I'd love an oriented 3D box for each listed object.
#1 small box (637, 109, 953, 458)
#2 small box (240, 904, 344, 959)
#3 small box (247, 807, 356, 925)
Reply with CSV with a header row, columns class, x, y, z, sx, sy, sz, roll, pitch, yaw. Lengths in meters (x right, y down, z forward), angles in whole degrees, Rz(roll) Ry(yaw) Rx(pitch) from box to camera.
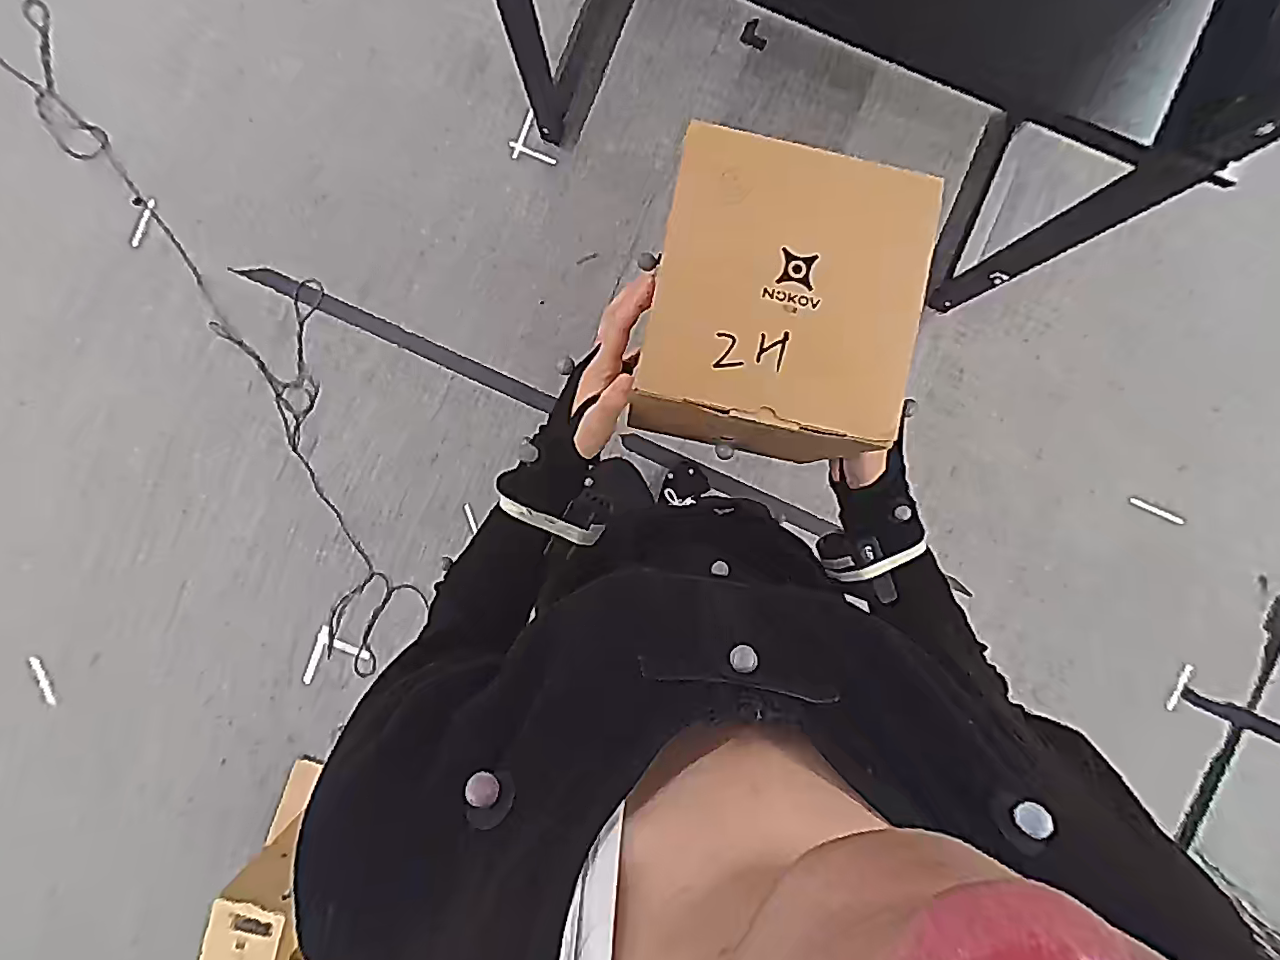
class,x,y,z,sx,sy,sz,roll,pitch,yaw
small box,0.093,-0.121,0.405,0.168,0.176,0.179,12,88,-2
small box,-0.946,1.277,1.460,0.179,0.176,0.168,16,94,-1
small box,-0.893,1.022,1.447,0.168,0.176,0.179,17,93,0
